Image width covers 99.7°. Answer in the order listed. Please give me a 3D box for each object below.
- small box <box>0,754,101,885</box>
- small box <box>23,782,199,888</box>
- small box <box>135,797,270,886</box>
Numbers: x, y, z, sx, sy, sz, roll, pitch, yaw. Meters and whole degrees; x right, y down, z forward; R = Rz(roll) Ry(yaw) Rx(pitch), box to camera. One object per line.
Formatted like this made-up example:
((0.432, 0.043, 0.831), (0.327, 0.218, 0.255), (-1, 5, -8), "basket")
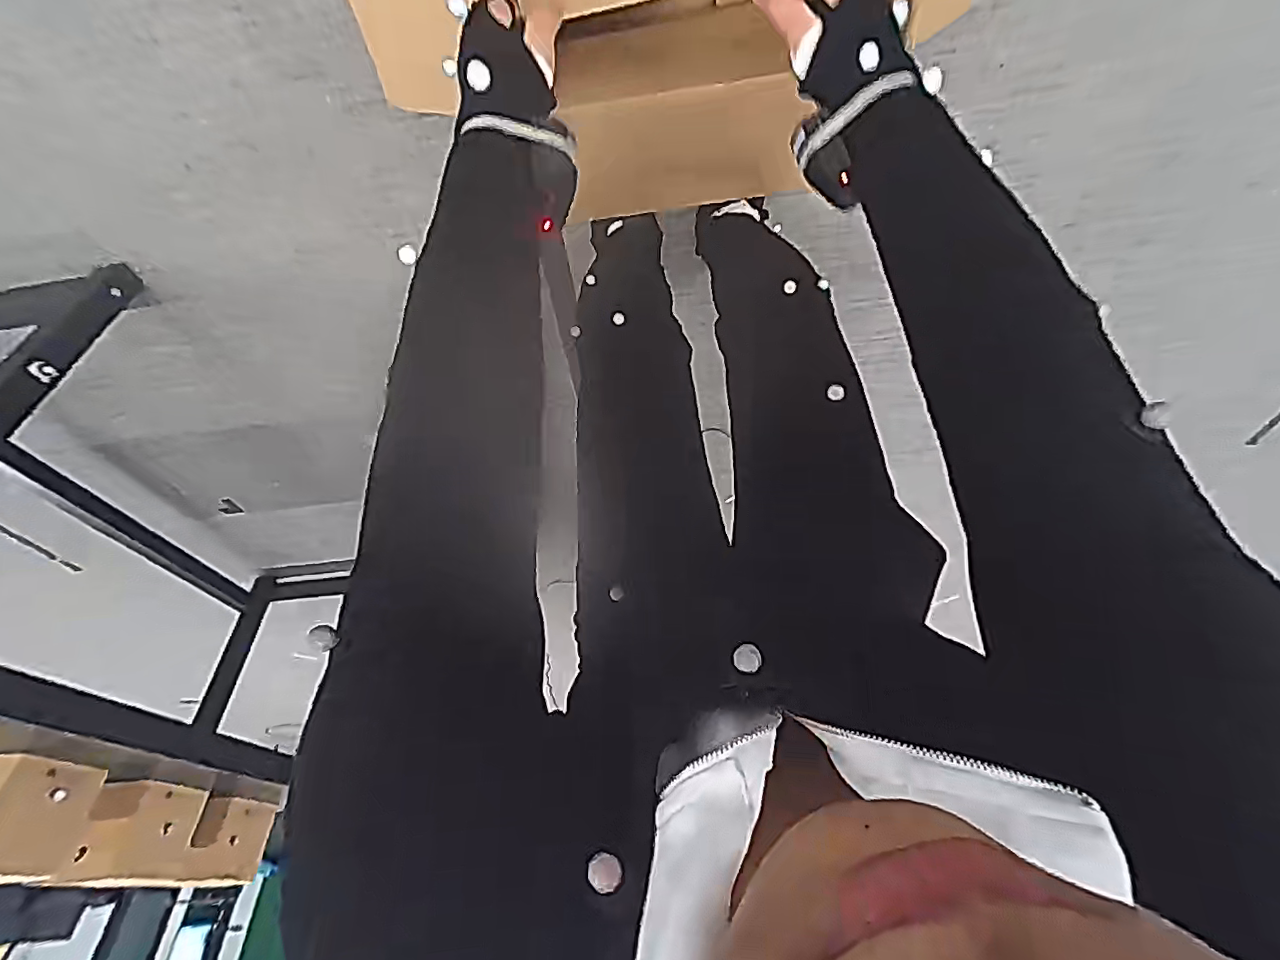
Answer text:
((-1.087, 0.570, 0.905), (0.179, 0.176, 0.168), (-6, 143, 4), "small box")
((-1.065, 0.731, 1.115), (0.179, 0.176, 0.168), (-6, 142, 4), "small box")
((-1.037, 0.874, 1.306), (0.179, 0.176, 0.168), (-6, 141, 5), "small box")
